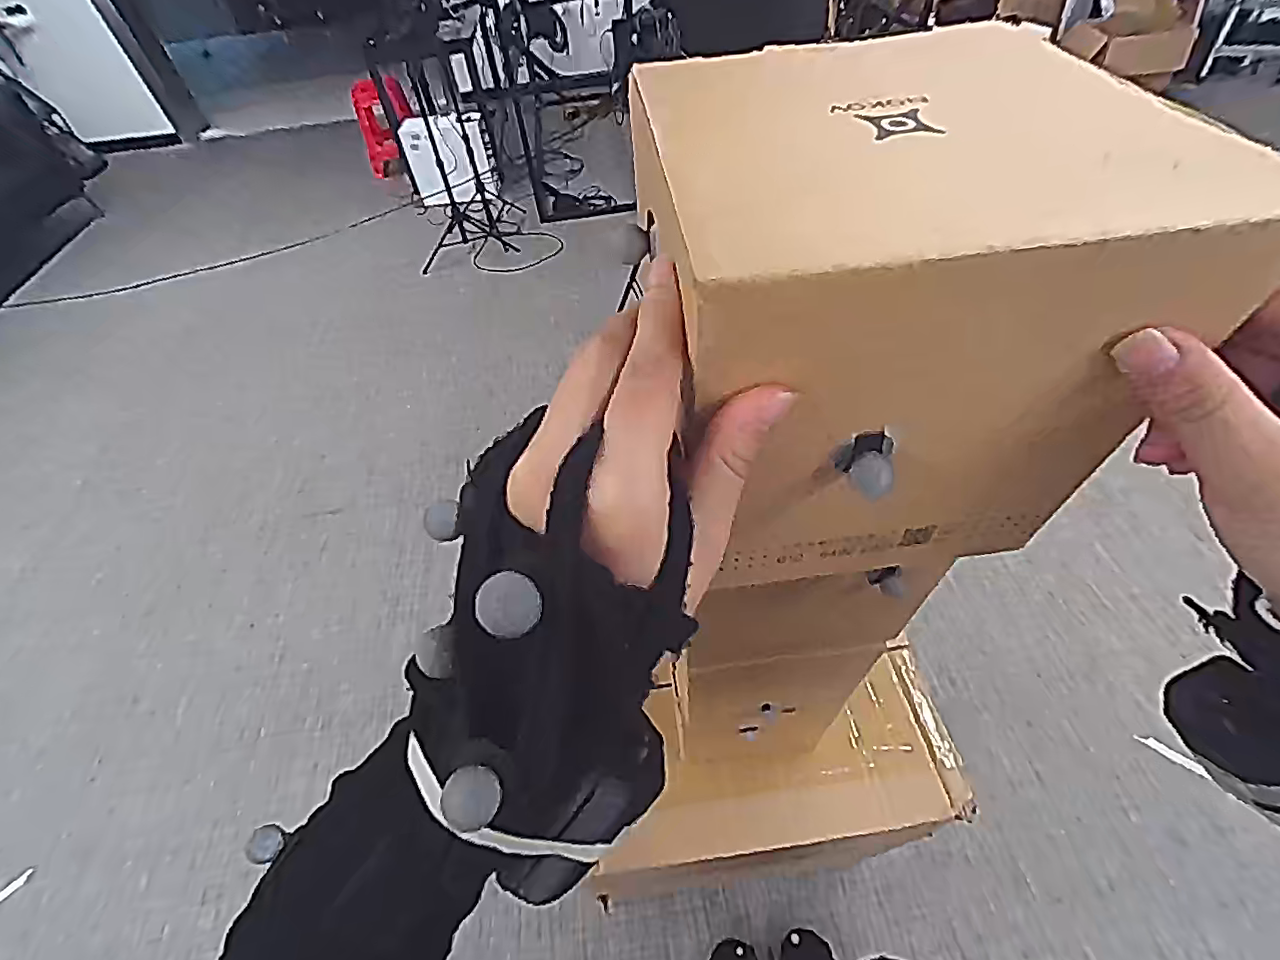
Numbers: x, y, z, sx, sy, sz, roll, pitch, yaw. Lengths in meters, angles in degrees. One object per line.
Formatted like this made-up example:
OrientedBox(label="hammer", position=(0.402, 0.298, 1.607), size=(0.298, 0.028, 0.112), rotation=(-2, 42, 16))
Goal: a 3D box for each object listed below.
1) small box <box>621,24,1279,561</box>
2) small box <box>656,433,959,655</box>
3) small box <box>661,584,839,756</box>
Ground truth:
OrientedBox(label="small box", position=(0.087, -0.076, 0.252), size=(0.168, 0.176, 0.179), rotation=(-8, 50, -1))
OrientedBox(label="small box", position=(0.107, 0.022, 0.428), size=(0.179, 0.176, 0.168), rotation=(-8, 50, -1))
OrientedBox(label="small box", position=(0.126, 0.233, 0.680), size=(0.179, 0.176, 0.168), rotation=(-7, 50, -1))
